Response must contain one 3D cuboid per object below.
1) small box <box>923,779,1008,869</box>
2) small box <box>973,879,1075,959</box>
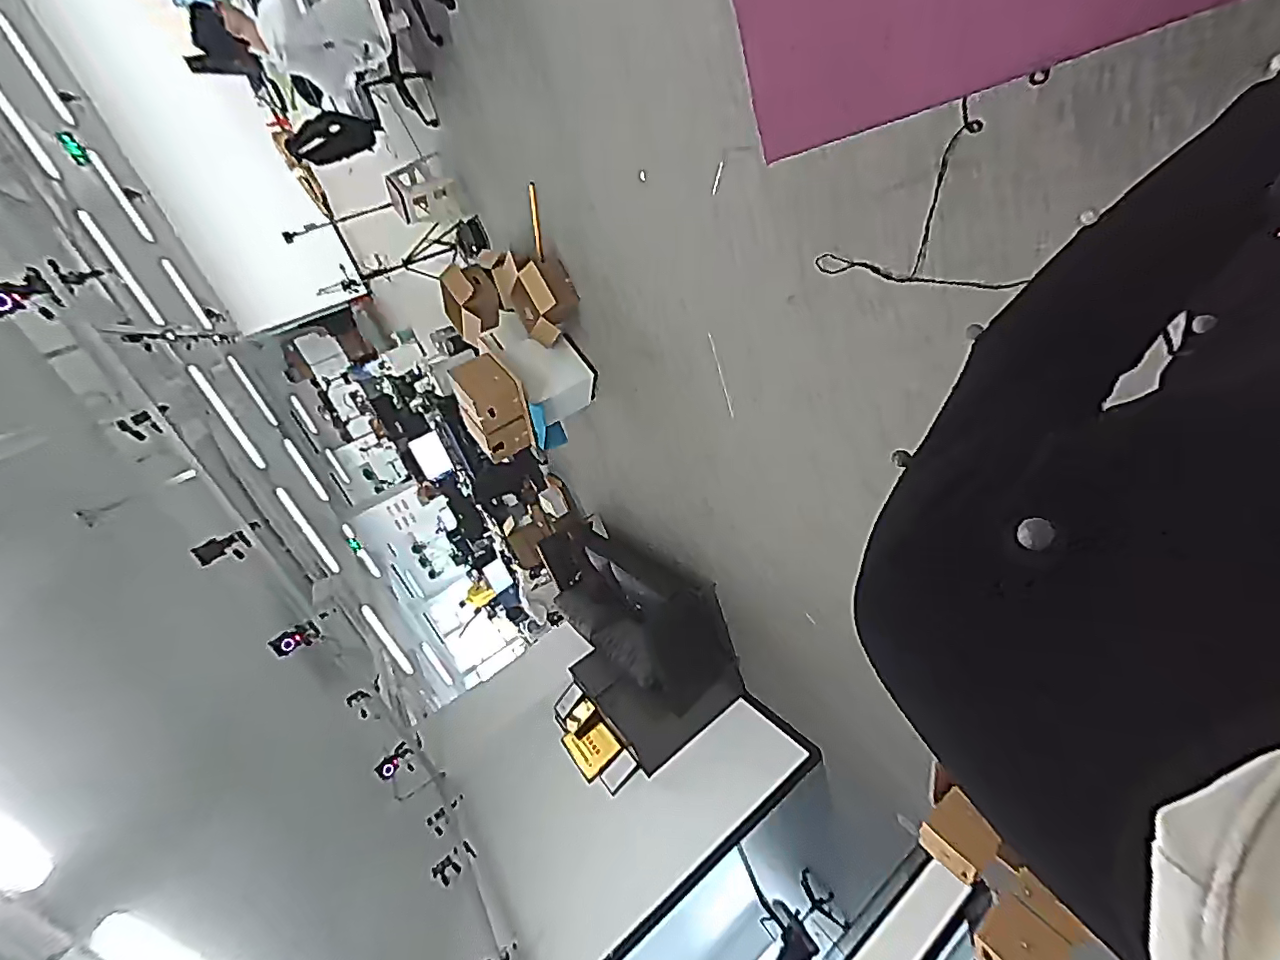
[{"bbox_3d":[1.096,1.153,1.829,0.179,0.176,0.168,37,150,48],"label":"small box"},{"bbox_3d":[1.101,1.302,1.559,0.179,0.176,0.168,31,146,51],"label":"small box"}]
